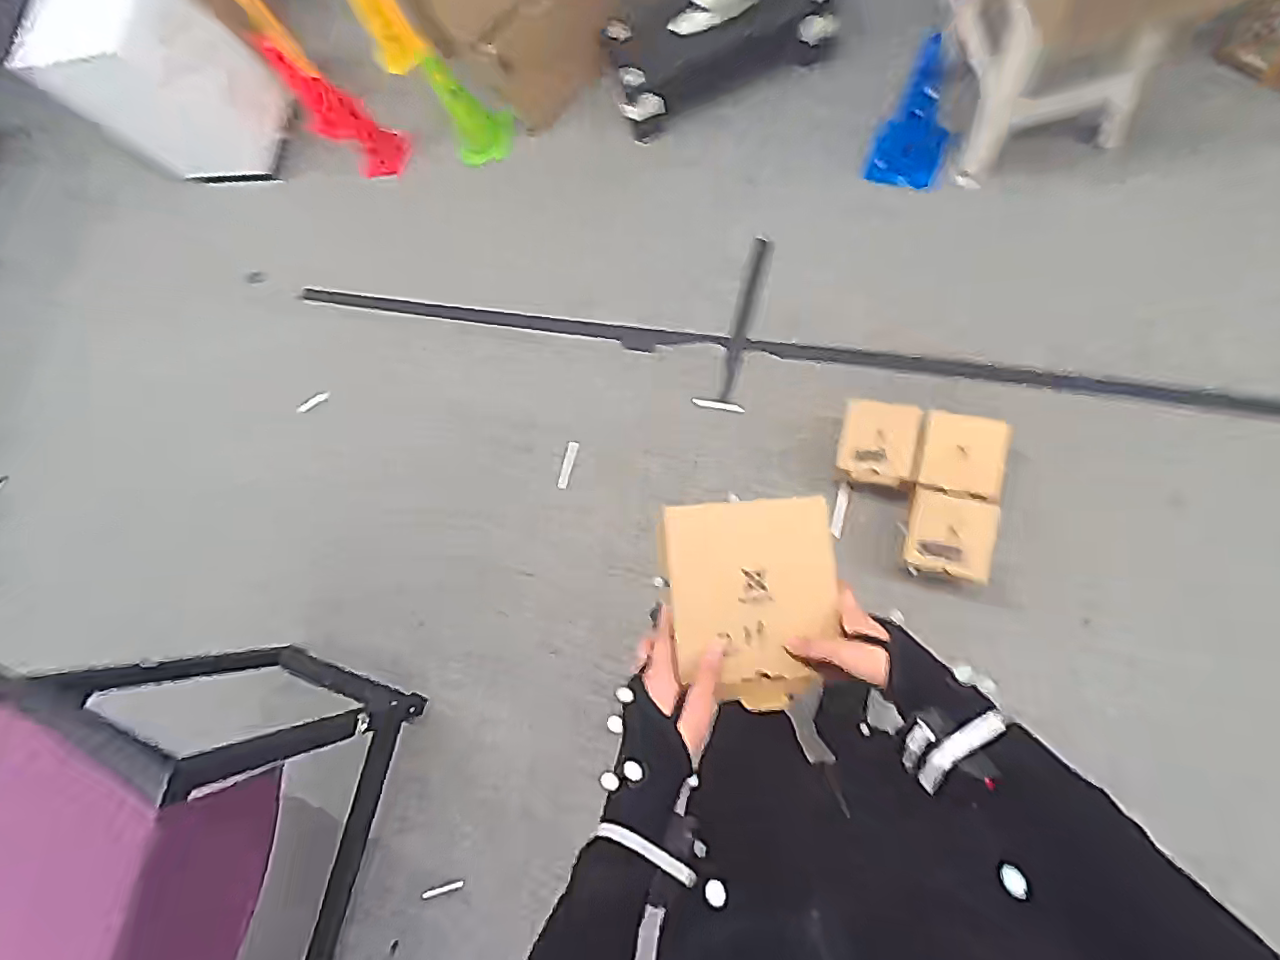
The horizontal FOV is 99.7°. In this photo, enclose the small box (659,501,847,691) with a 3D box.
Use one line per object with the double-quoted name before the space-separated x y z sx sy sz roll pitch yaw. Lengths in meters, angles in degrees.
"small box" 0.112 0.123 0.610 0.168 0.176 0.179 -4 83 -2
